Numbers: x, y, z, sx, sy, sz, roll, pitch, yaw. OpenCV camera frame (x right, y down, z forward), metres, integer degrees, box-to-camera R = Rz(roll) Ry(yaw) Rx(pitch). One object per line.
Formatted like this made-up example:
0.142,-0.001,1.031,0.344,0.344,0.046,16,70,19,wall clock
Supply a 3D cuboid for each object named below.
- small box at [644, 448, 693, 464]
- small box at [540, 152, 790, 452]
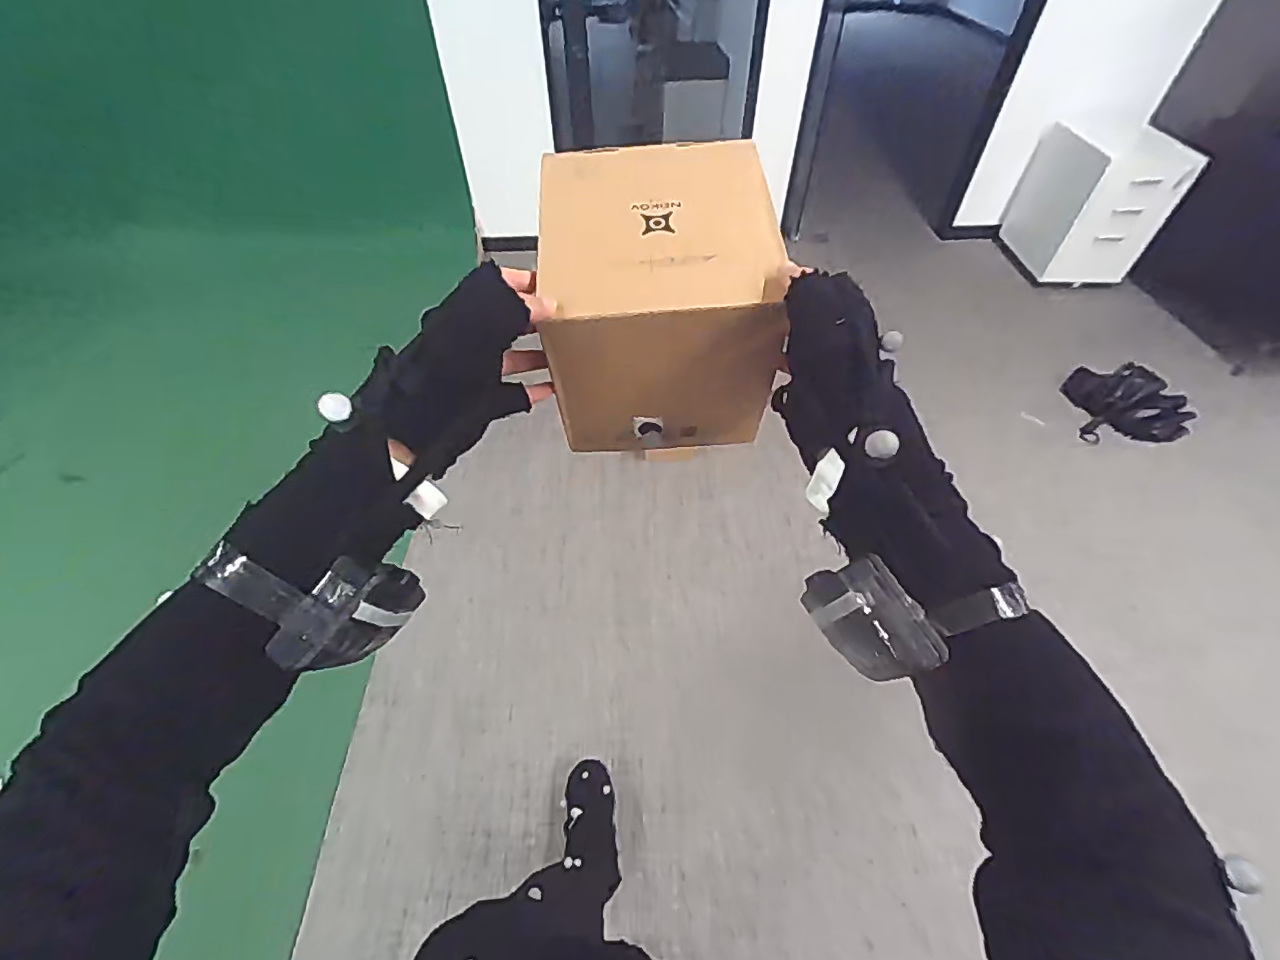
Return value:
0.105,-0.171,1.975,0.179,0.176,0.168,-1,48,1,small box
0.014,-0.142,0.458,0.168,0.176,0.179,-4,62,0,small box
